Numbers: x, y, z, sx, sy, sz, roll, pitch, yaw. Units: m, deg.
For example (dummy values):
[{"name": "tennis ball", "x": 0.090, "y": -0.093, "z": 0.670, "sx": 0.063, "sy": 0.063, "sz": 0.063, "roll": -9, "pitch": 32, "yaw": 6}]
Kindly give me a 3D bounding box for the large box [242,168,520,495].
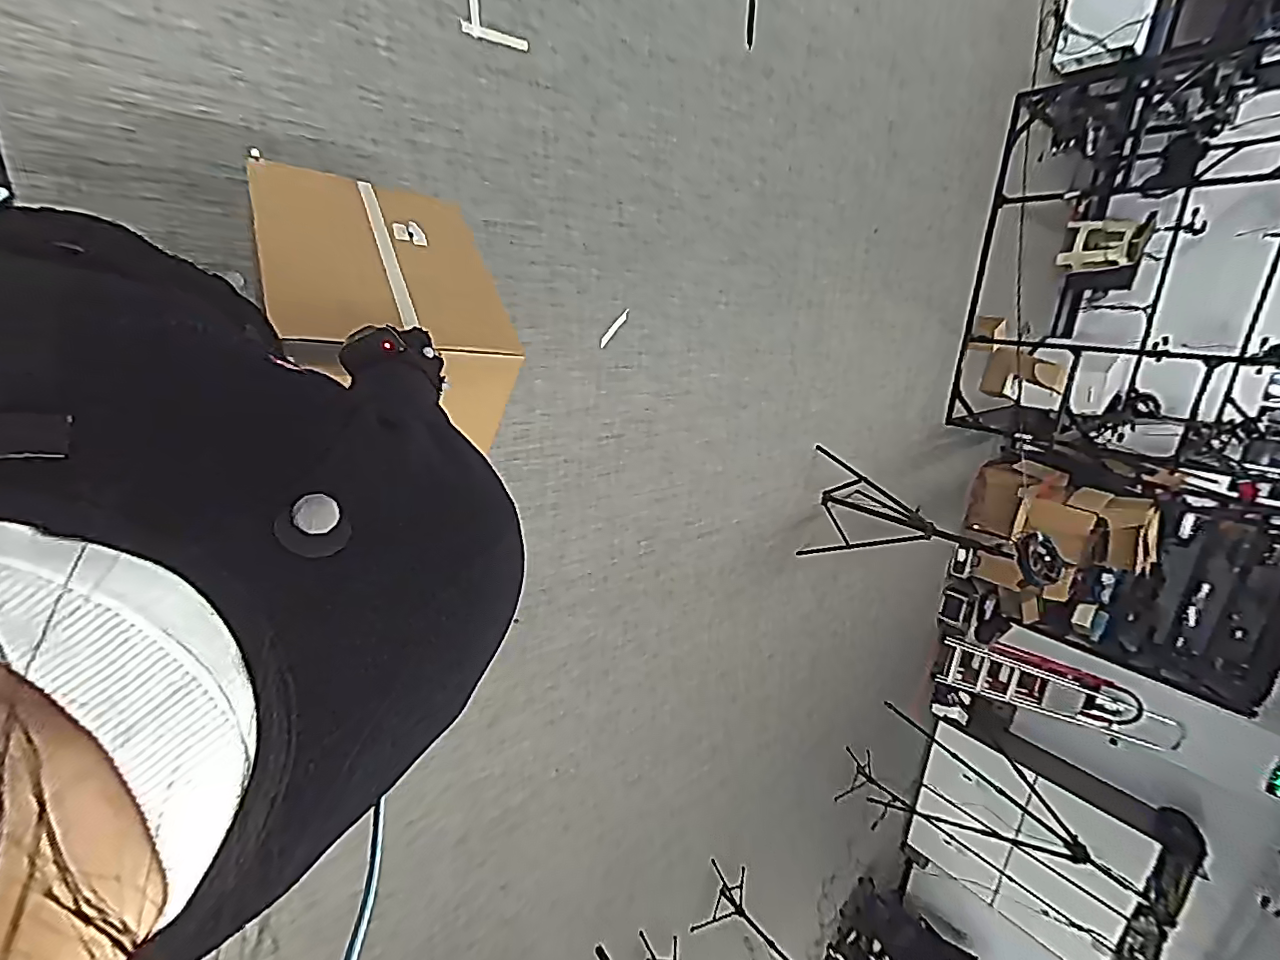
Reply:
[{"name": "large box", "x": -0.448, "y": -0.232, "z": 0.903, "sx": 0.320, "sy": 0.408, "sz": 0.320, "roll": -5, "pitch": 144, "yaw": -38}]
